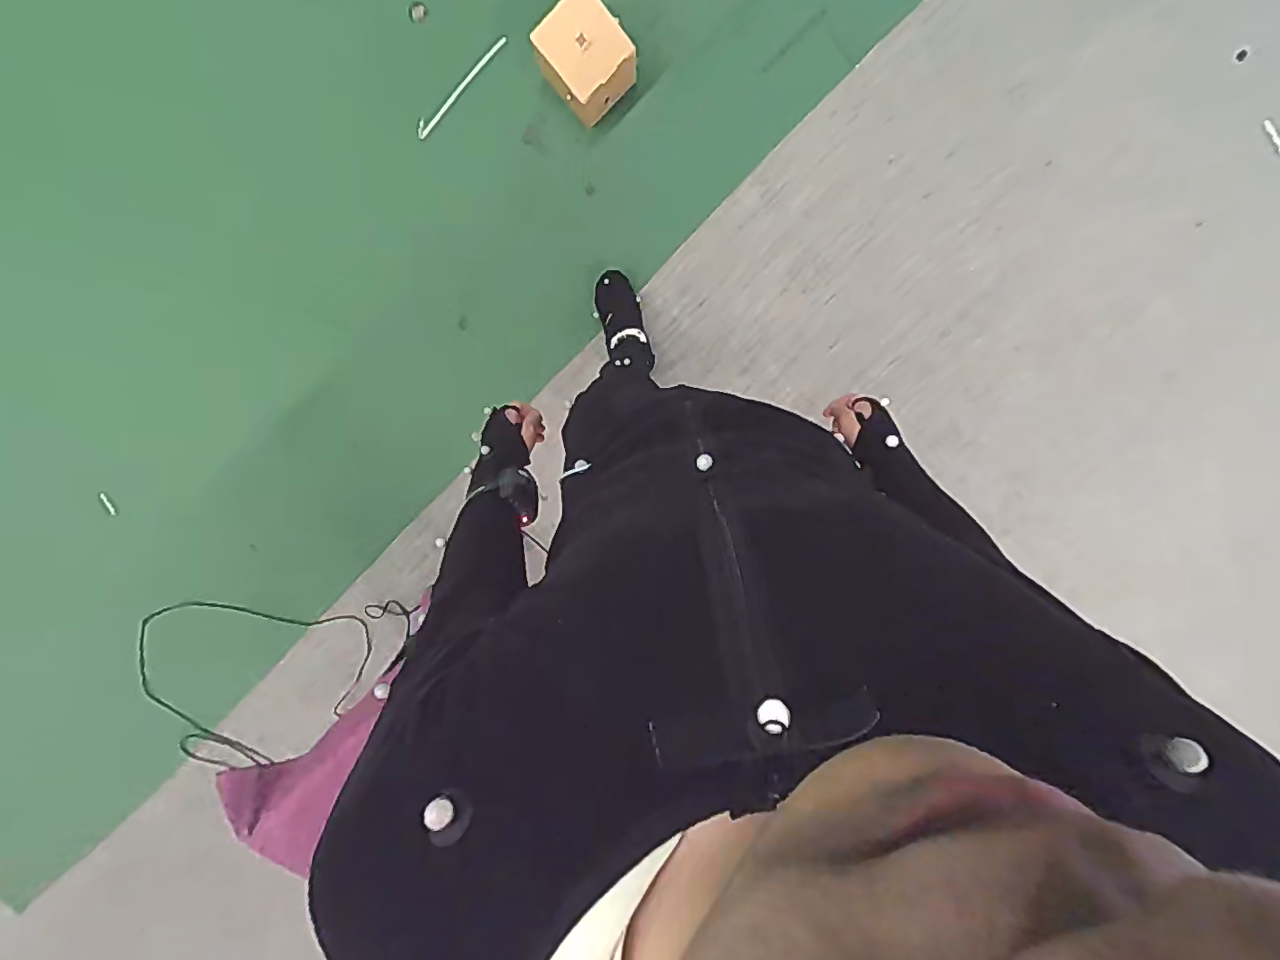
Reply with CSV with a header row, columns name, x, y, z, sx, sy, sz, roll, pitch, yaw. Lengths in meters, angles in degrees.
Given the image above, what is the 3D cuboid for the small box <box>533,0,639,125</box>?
name,x,y,z,sx,sy,sz,roll,pitch,yaw
small box,-0.122,-0.983,1.265,0.168,0.176,0.179,-42,103,10
